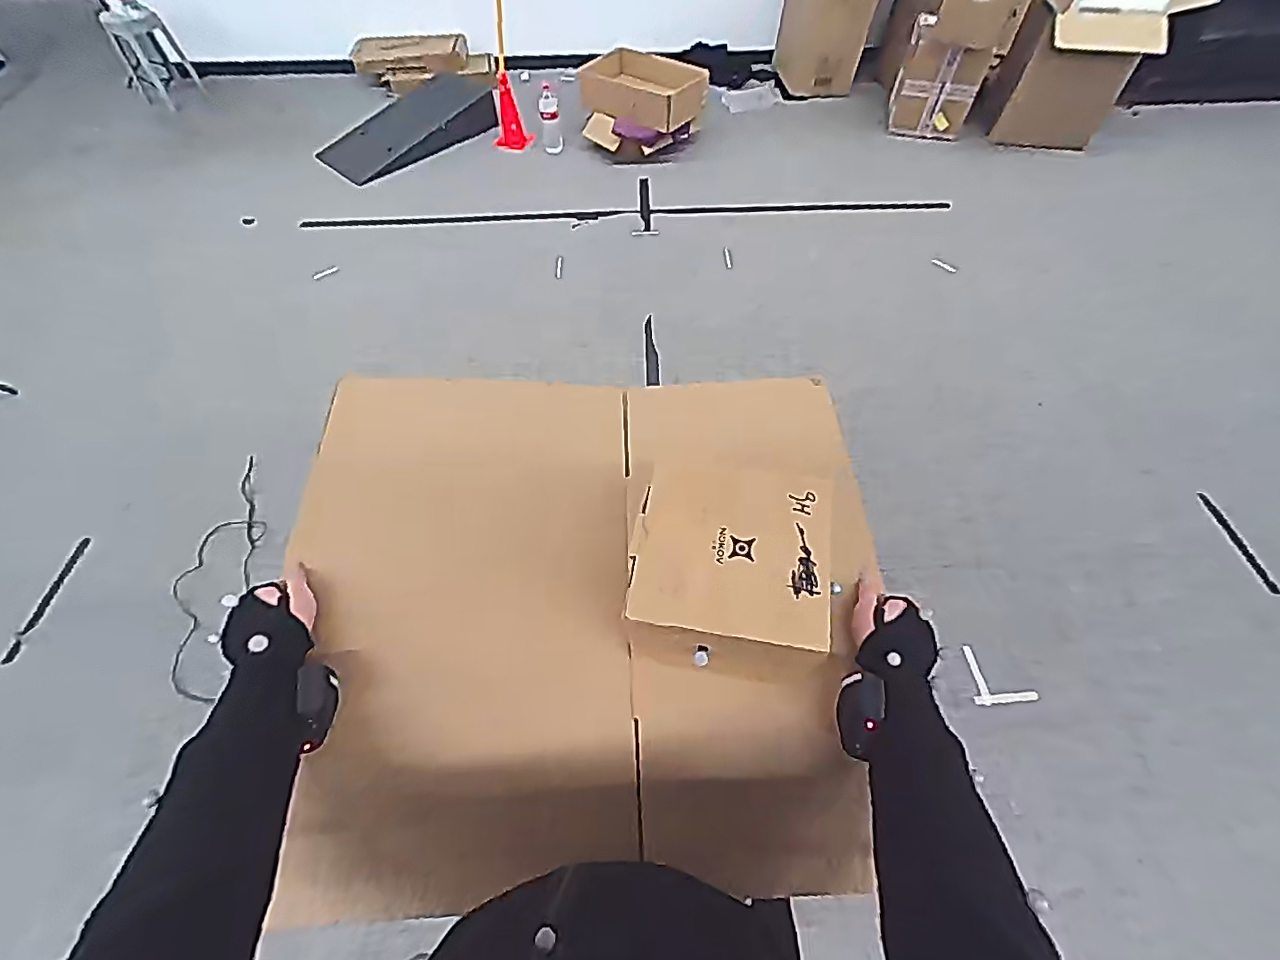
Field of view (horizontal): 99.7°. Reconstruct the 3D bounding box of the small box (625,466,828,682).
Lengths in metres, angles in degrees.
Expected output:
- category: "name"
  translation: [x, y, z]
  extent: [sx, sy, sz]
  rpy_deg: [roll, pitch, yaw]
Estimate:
- category: "small box"
  translation: [0.092, 0.104, 0.572]
  extent: [0.179, 0.176, 0.168]
  rpy_deg: [7, 60, 9]
